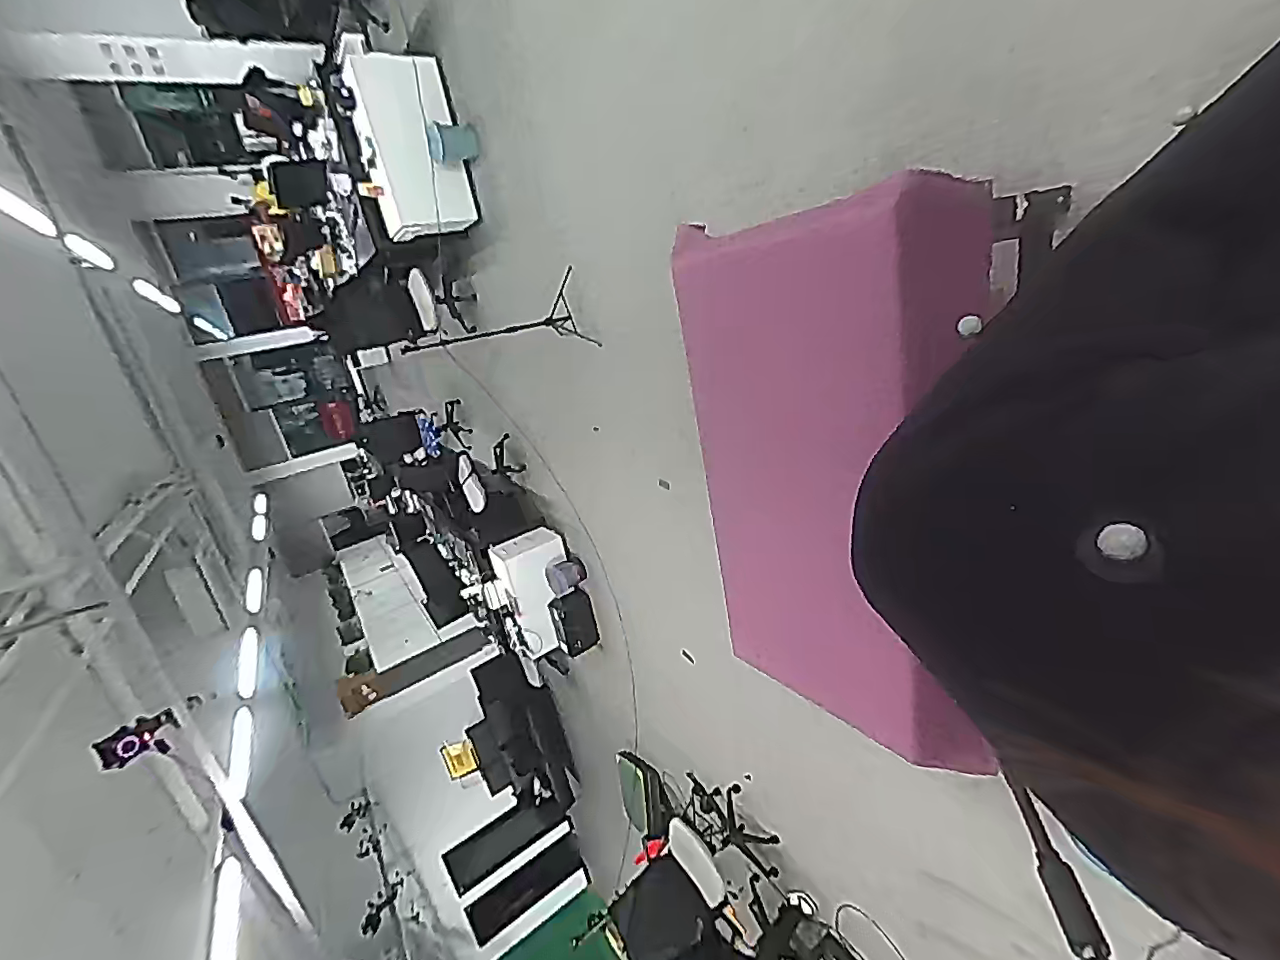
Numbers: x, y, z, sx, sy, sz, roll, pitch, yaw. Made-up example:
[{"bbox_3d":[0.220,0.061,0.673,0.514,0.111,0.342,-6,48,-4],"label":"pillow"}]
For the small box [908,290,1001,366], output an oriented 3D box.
[{"bbox_3d":[0.863,-0.420,1.485,0.168,0.176,0.179,20,126,54],"label":"small box"}]
